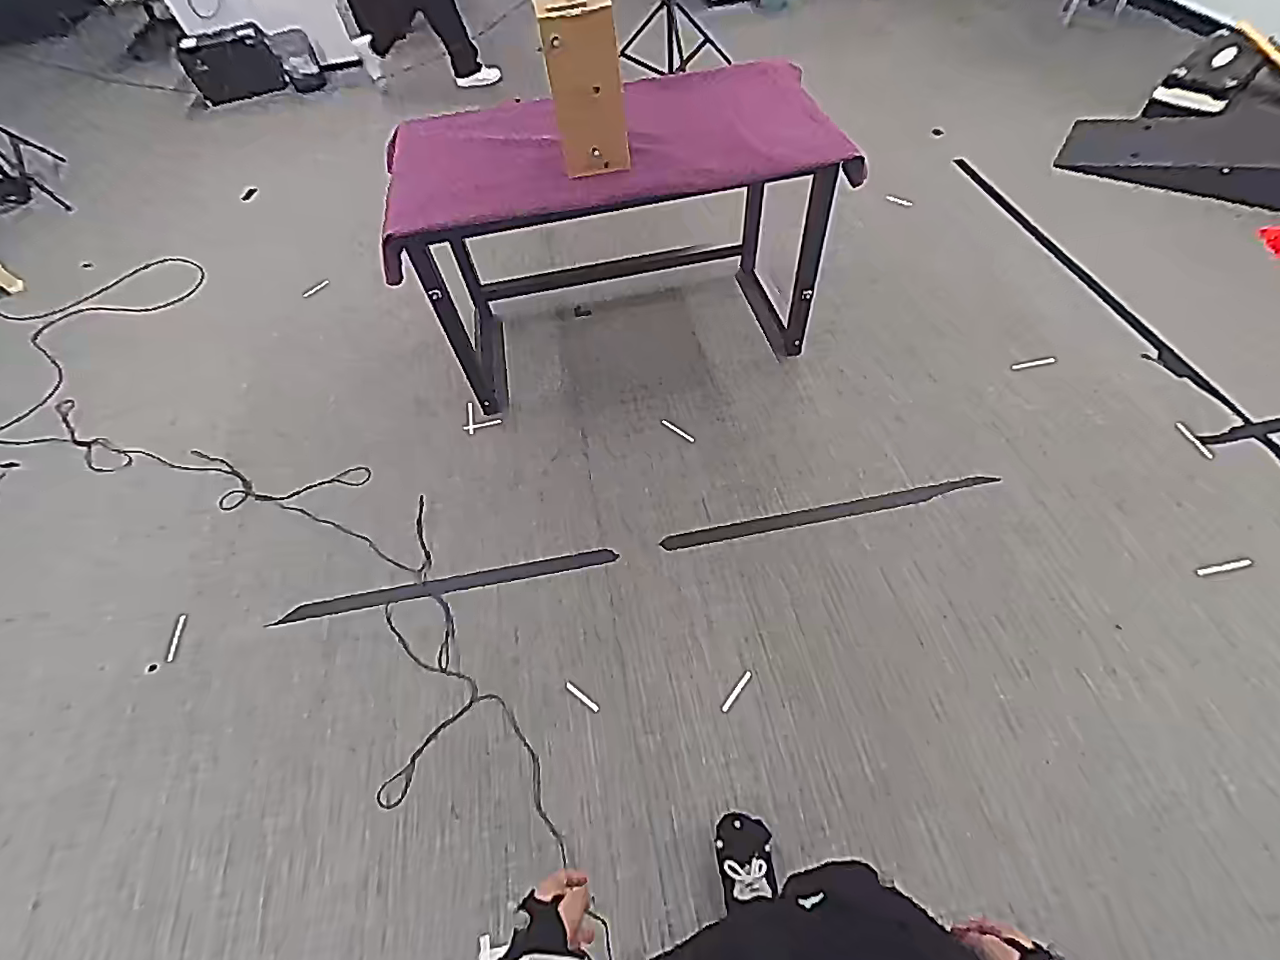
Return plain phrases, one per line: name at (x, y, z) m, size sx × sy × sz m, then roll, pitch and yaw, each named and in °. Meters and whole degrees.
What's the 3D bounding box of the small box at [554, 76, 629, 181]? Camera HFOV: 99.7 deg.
small box at (-0.124, -0.907, 1.399) m, size 0.168 × 0.176 × 0.179 m, roll -10°, pitch 55°, yaw 0°
